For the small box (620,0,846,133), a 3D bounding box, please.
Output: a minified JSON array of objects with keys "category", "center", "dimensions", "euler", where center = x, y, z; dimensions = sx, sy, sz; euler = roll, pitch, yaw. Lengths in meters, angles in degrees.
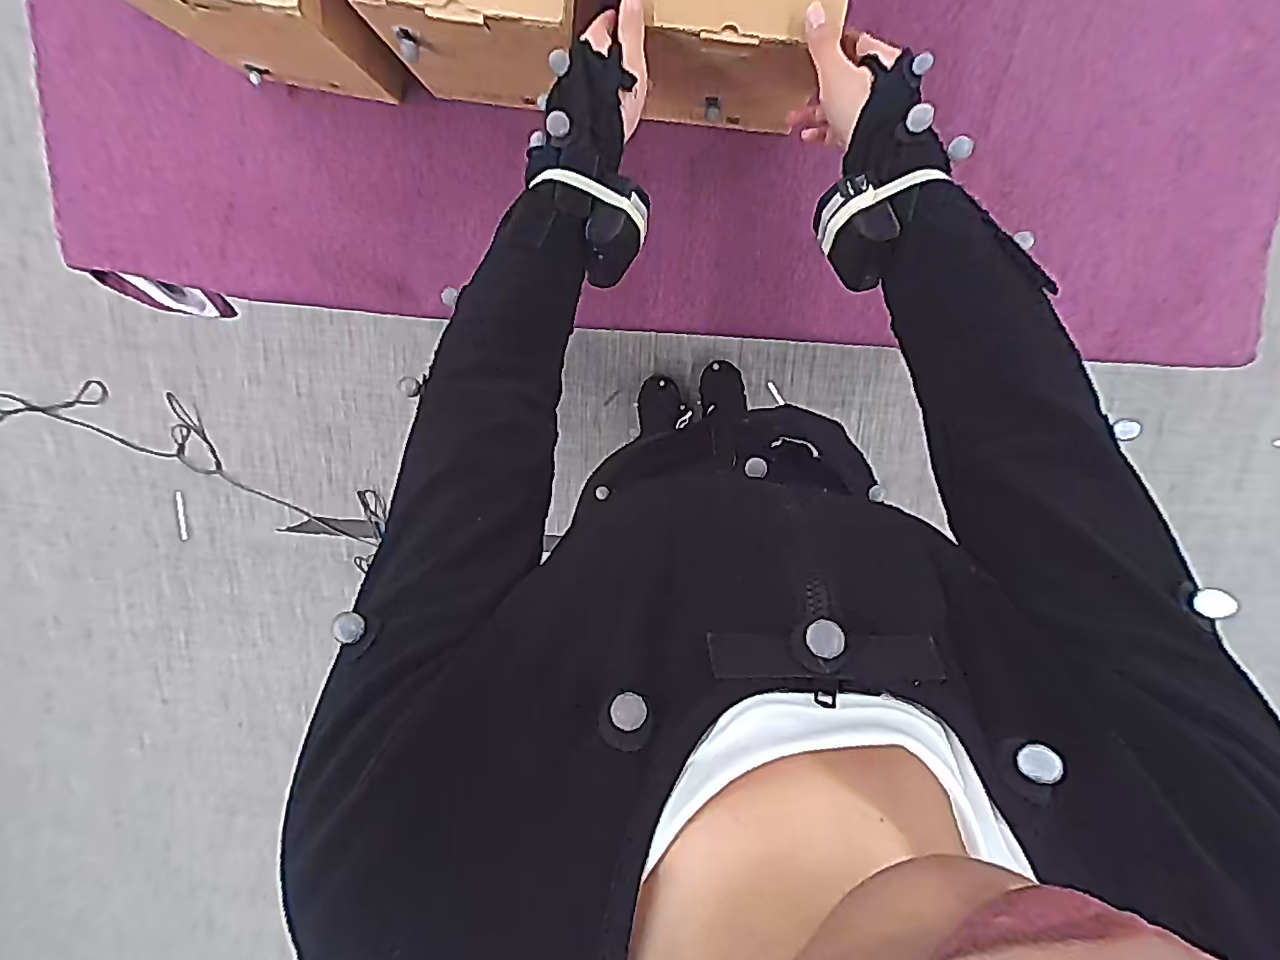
[{"category":"small box","center":[0.078,-0.430,0.456],"dimensions":[0.168,0.176,0.179],"euler":[7,104,1]}]
